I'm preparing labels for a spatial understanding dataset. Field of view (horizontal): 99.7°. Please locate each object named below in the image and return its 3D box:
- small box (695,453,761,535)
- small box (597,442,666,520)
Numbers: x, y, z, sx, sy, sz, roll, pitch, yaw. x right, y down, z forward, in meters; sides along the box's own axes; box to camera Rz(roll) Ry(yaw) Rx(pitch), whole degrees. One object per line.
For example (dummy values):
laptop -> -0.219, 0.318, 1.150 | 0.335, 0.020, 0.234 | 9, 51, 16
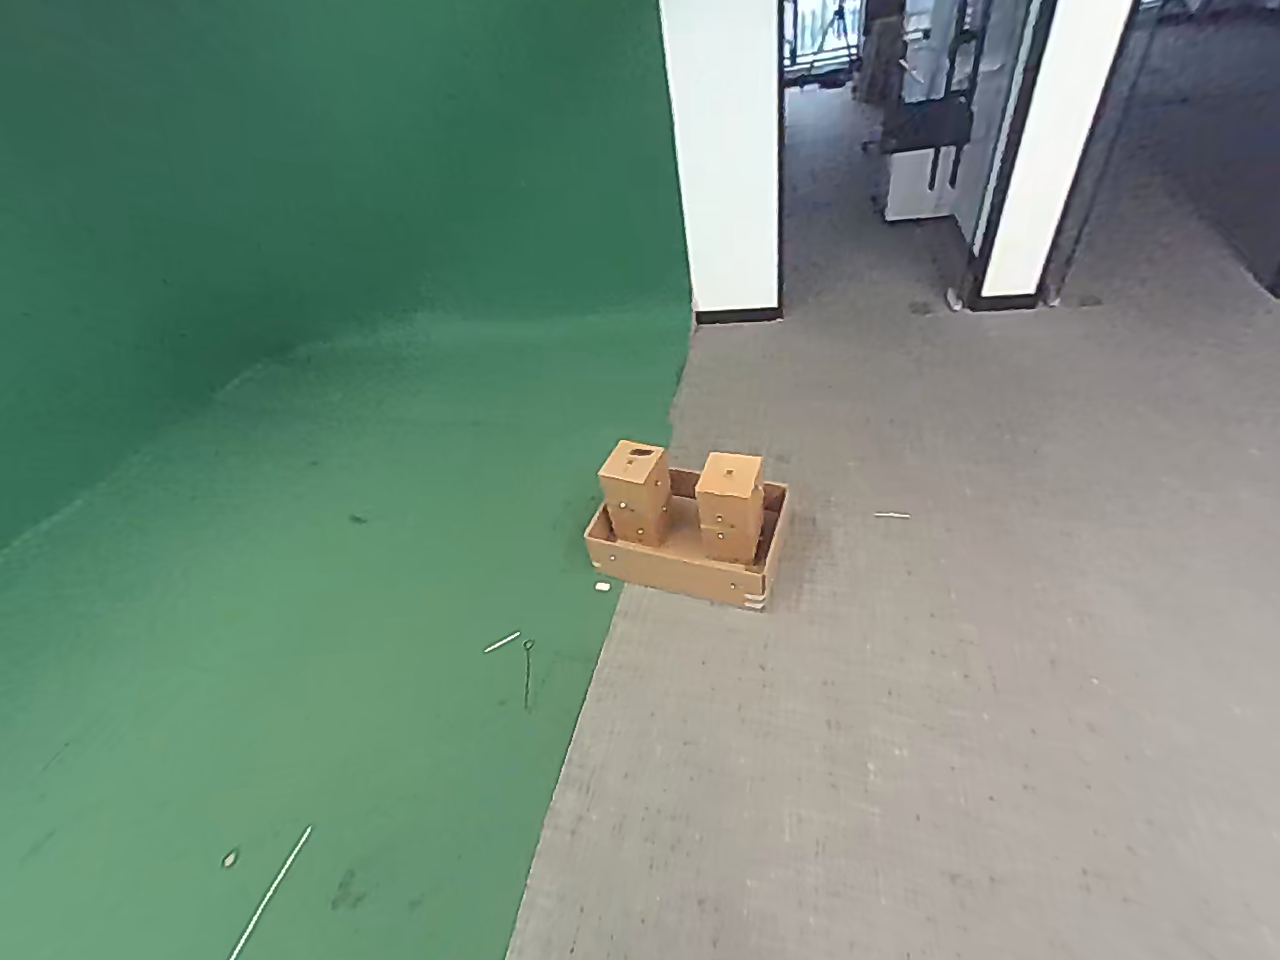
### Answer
small box -> 0.278, 0.043, 1.684 | 0.168, 0.176, 0.179 | 7, 48, 22
small box -> -0.020, 0.003, 1.806 | 0.168, 0.176, 0.179 | 12, 49, 24
